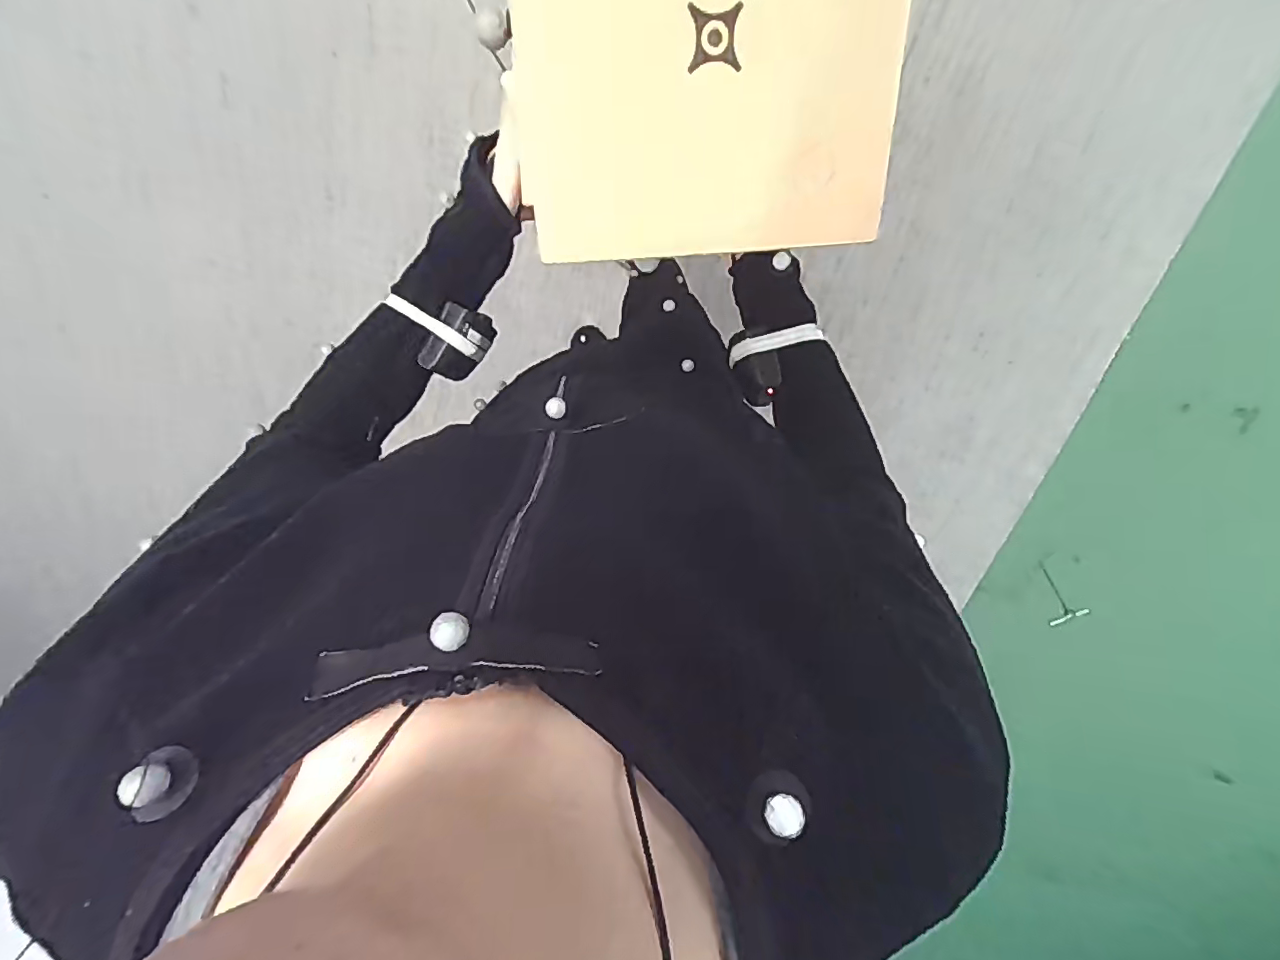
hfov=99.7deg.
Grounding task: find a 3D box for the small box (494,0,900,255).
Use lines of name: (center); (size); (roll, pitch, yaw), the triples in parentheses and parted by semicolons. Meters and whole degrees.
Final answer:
small box: (0.017, -0.224, 0.287); (0.168, 0.176, 0.179); (-5, 117, -5)
